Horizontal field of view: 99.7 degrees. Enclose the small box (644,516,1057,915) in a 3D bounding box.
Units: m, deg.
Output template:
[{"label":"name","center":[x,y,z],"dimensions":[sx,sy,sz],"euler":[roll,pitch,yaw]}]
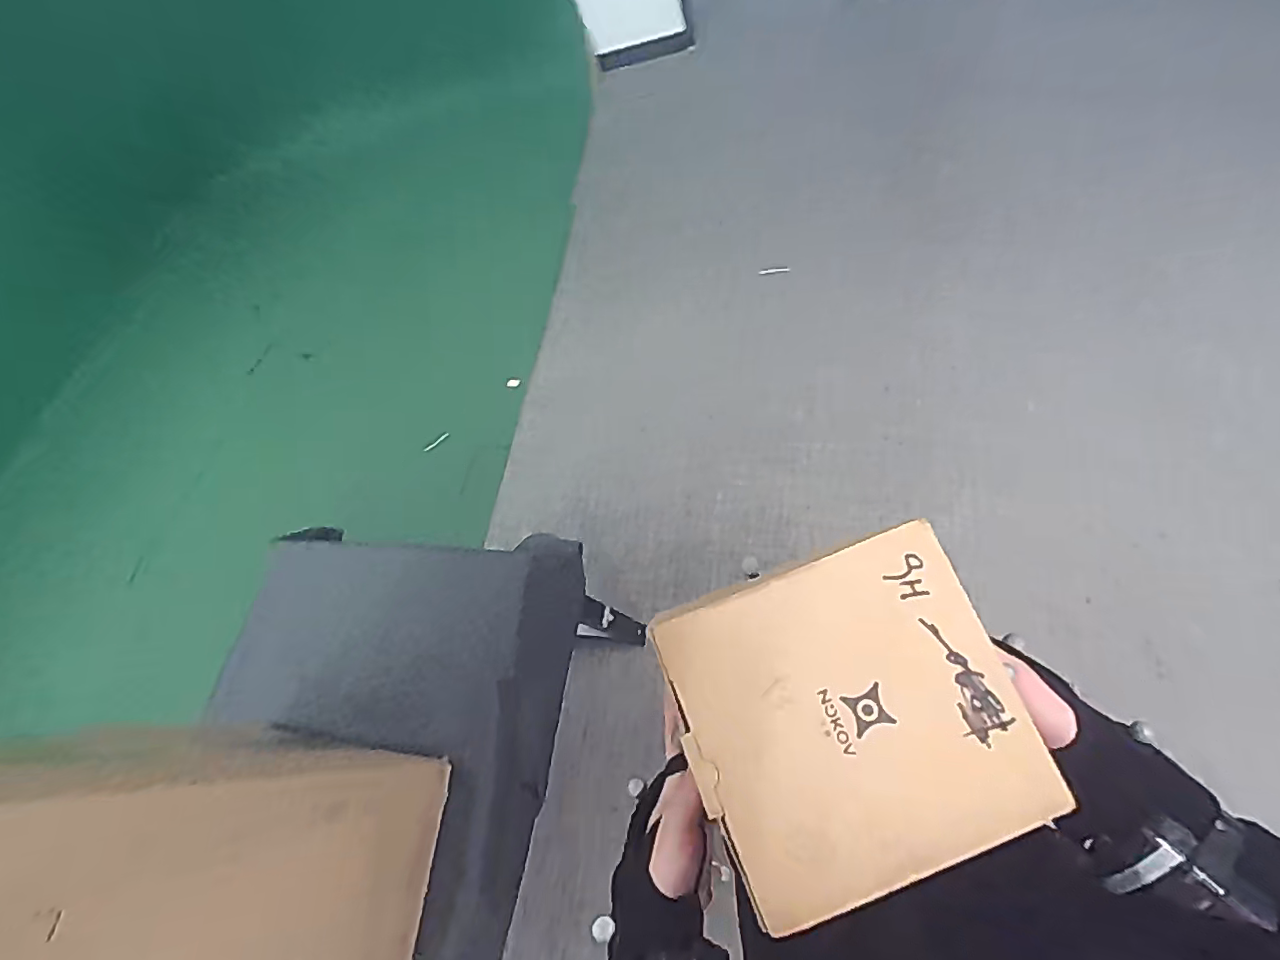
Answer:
[{"label":"small box","center":[0.116,0.139,0.373],"dimensions":[0.179,0.176,0.168],"euler":[-20,79,0]}]
